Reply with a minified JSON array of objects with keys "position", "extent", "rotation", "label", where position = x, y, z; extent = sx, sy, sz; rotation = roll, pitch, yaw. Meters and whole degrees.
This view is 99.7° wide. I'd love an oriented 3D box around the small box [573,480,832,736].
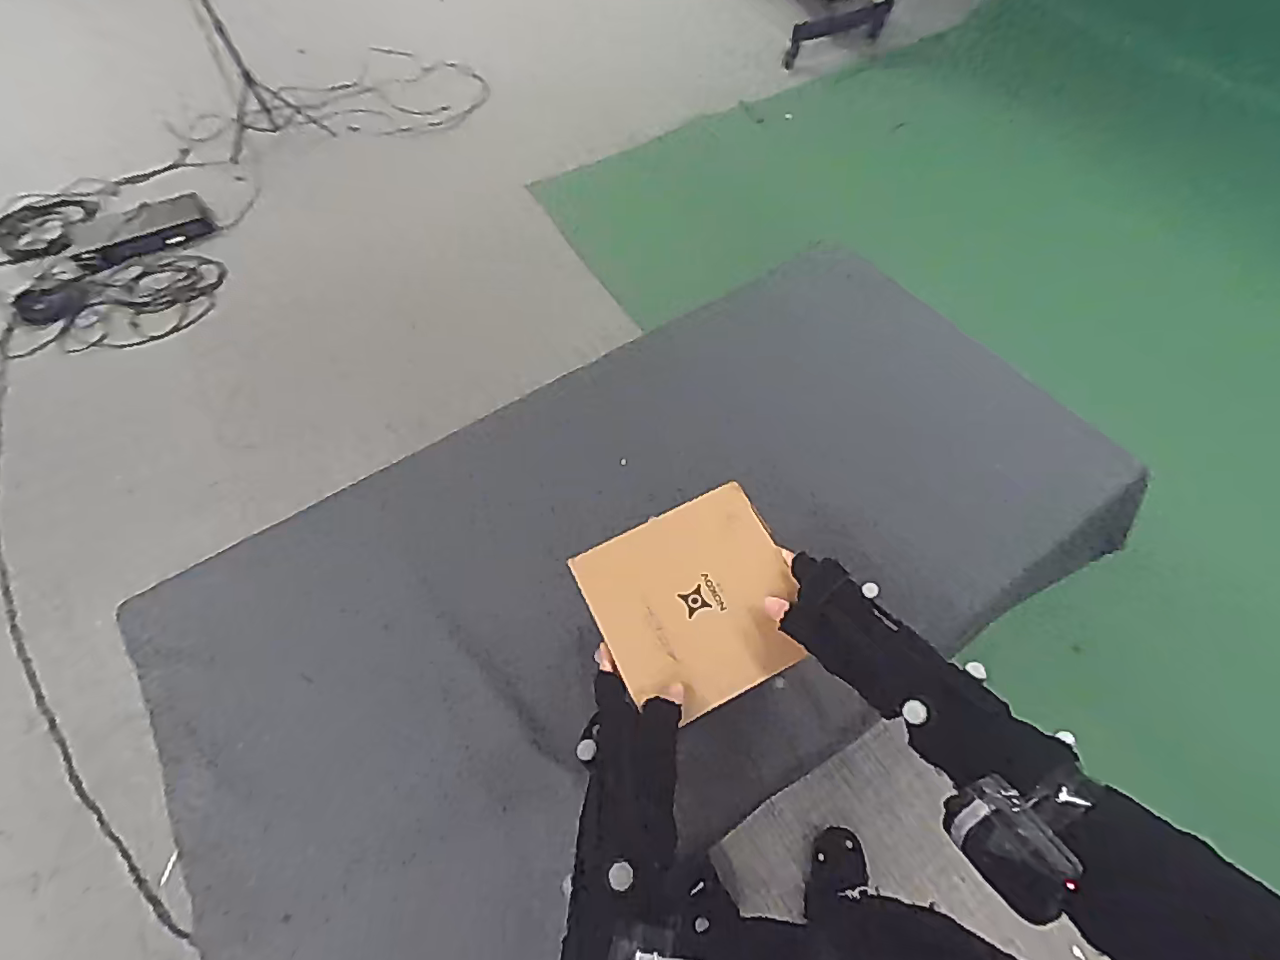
[{"position":[0.052,0.130,0.540],"extent":[0.179,0.176,0.168],"rotation":[-26,69,-8],"label":"small box"}]
